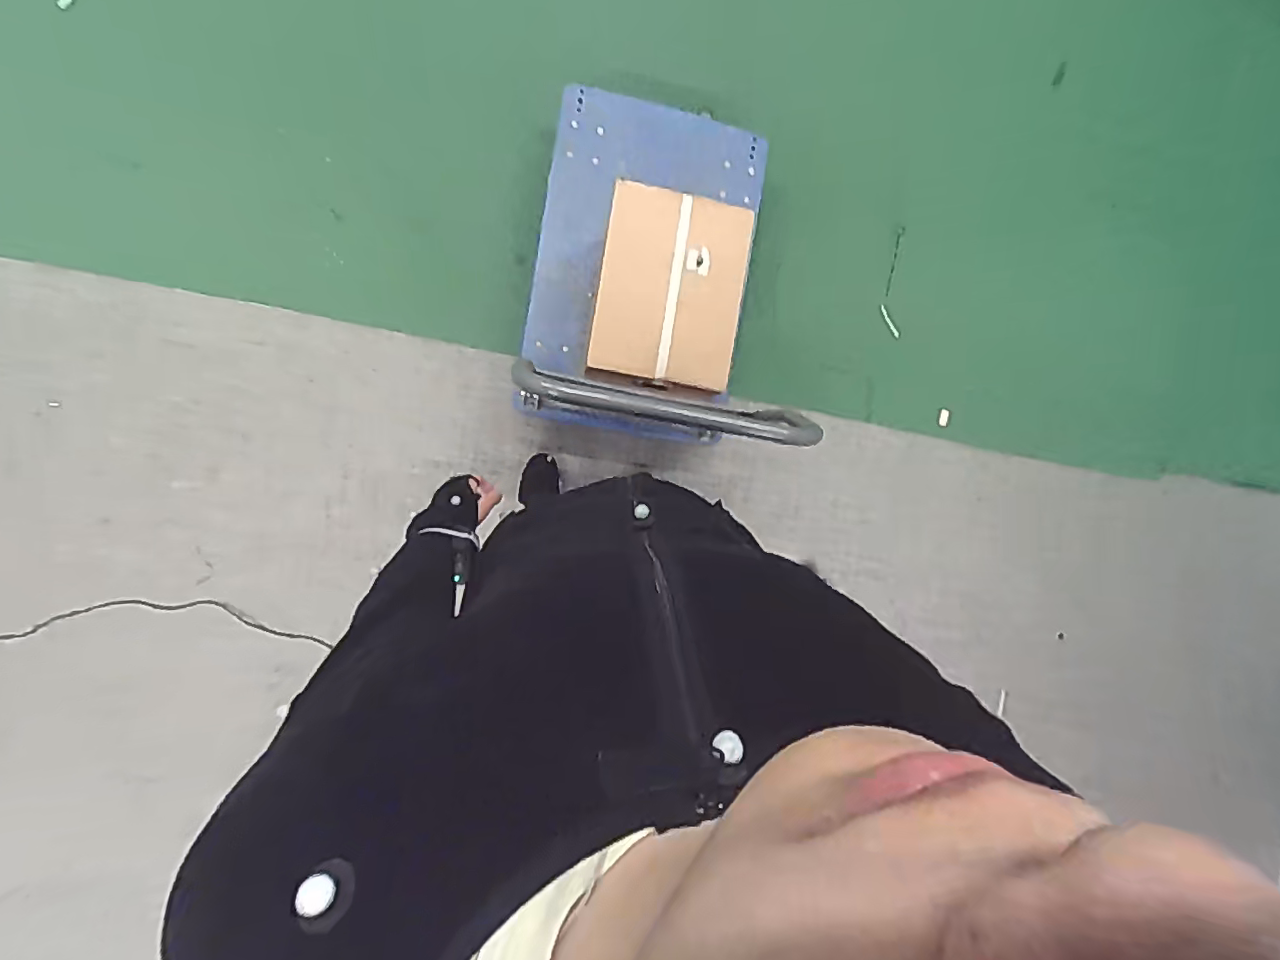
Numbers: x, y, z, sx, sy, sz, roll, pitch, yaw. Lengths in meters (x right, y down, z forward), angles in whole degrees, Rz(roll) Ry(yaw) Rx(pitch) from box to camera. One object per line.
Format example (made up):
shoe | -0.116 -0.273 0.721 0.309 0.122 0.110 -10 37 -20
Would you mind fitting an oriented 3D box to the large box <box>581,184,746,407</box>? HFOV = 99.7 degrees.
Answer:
large box | 0.037 -0.412 1.312 0.320 0.320 0.408 9 89 -10
